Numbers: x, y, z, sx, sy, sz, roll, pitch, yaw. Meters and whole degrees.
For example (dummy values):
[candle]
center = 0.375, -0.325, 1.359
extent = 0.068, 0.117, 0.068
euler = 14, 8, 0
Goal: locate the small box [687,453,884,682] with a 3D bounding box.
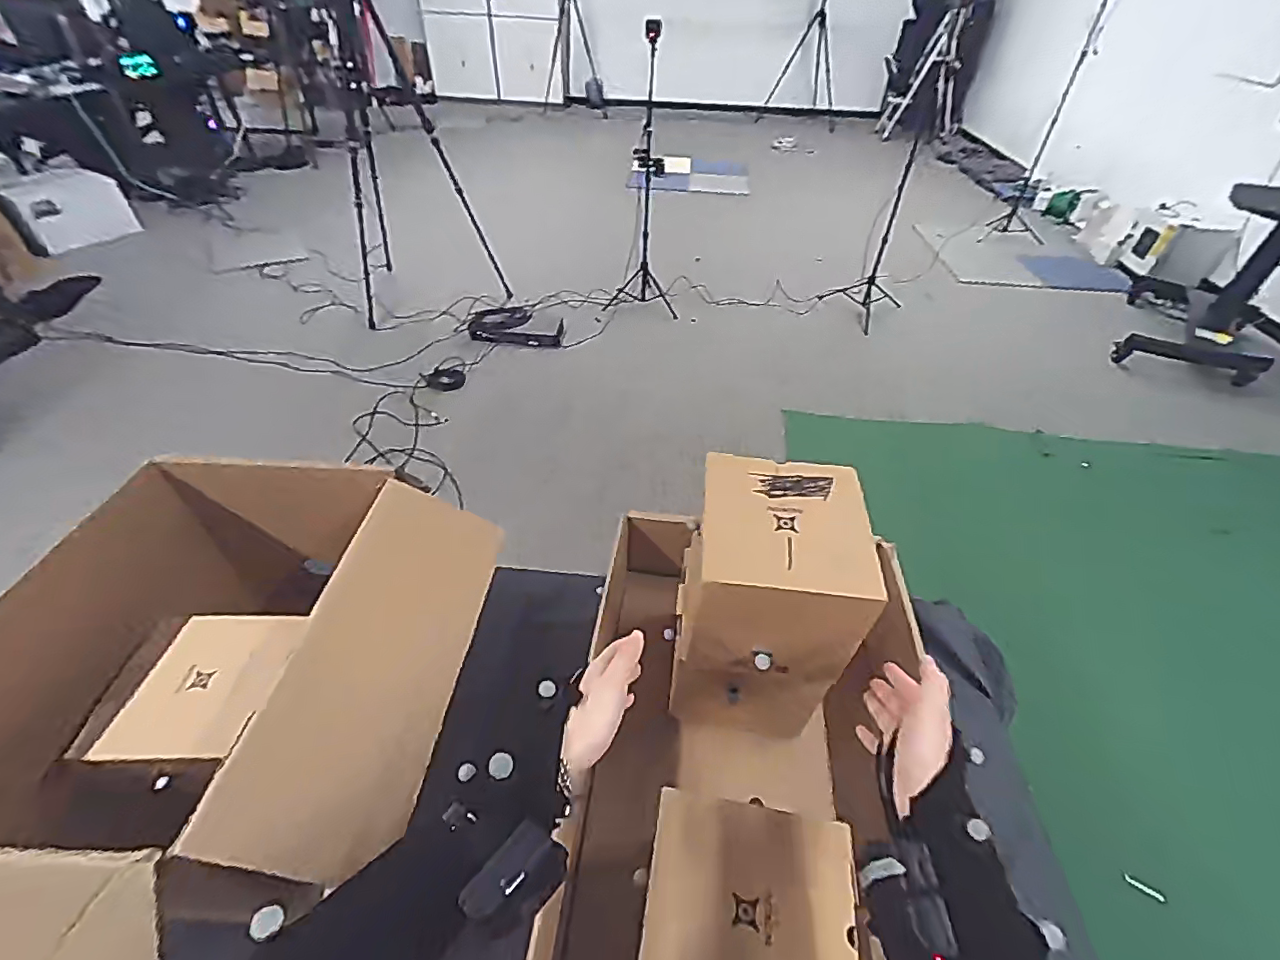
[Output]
[small box]
center = 0.143, 0.096, 0.597
extent = 0.168, 0.176, 0.179
euler = 6, 46, 3
